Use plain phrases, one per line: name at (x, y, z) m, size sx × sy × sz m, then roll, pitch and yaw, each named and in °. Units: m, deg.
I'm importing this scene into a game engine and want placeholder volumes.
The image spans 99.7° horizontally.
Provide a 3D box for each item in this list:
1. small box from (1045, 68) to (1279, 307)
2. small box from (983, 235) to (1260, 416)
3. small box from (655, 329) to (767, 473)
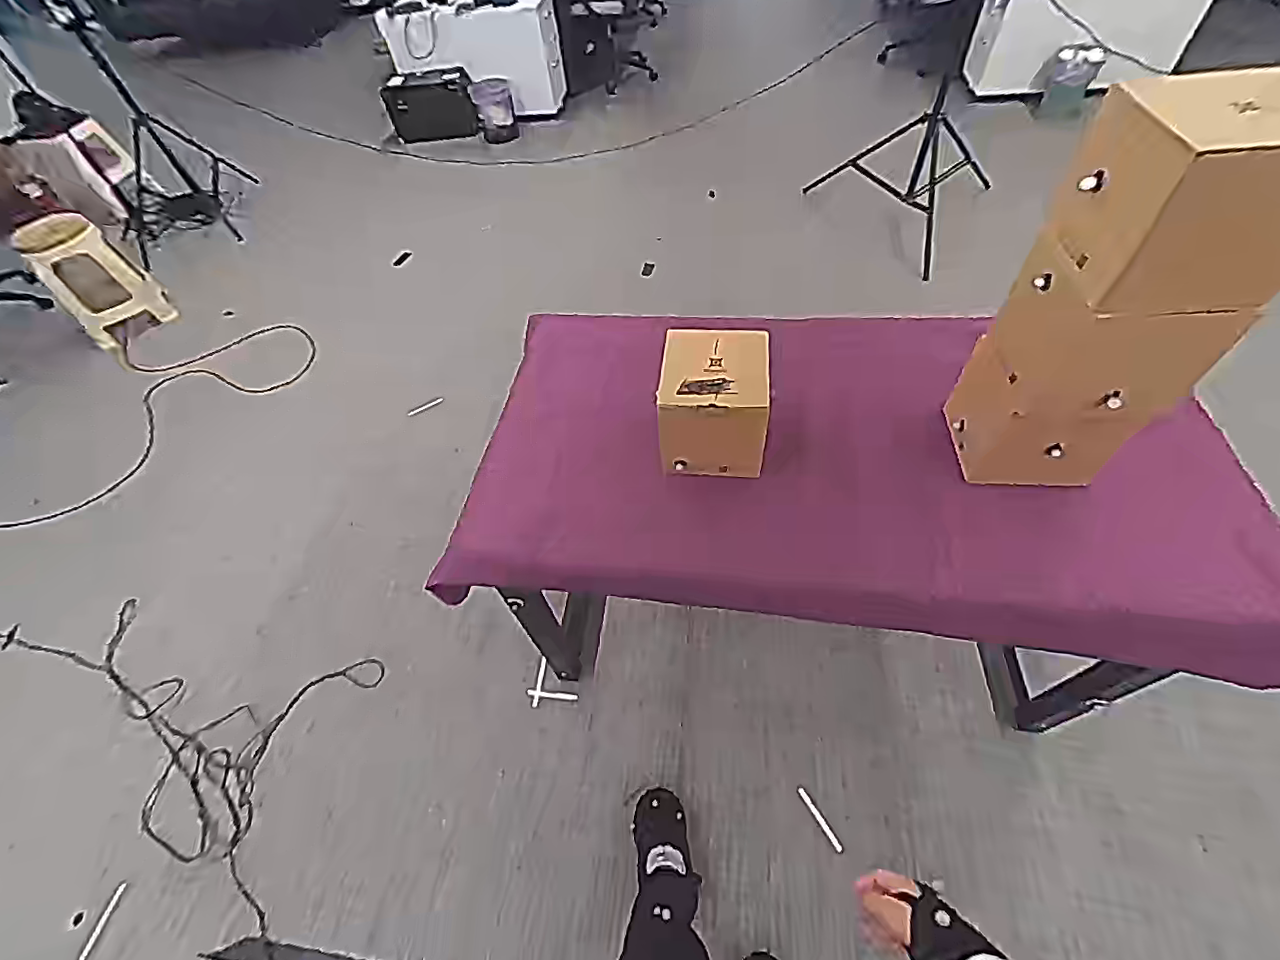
small box at (0.572, -0.299, 0.568) m, size 0.179 × 0.176 × 0.168 m, roll -1°, pitch 53°, yaw 6°
small box at (0.586, -0.195, 0.694) m, size 0.179 × 0.176 × 0.168 m, roll -1°, pitch 53°, yaw 5°
small box at (0.120, -0.128, 0.896) m, size 0.168 × 0.176 × 0.179 m, roll 3°, pitch 53°, yaw 8°
